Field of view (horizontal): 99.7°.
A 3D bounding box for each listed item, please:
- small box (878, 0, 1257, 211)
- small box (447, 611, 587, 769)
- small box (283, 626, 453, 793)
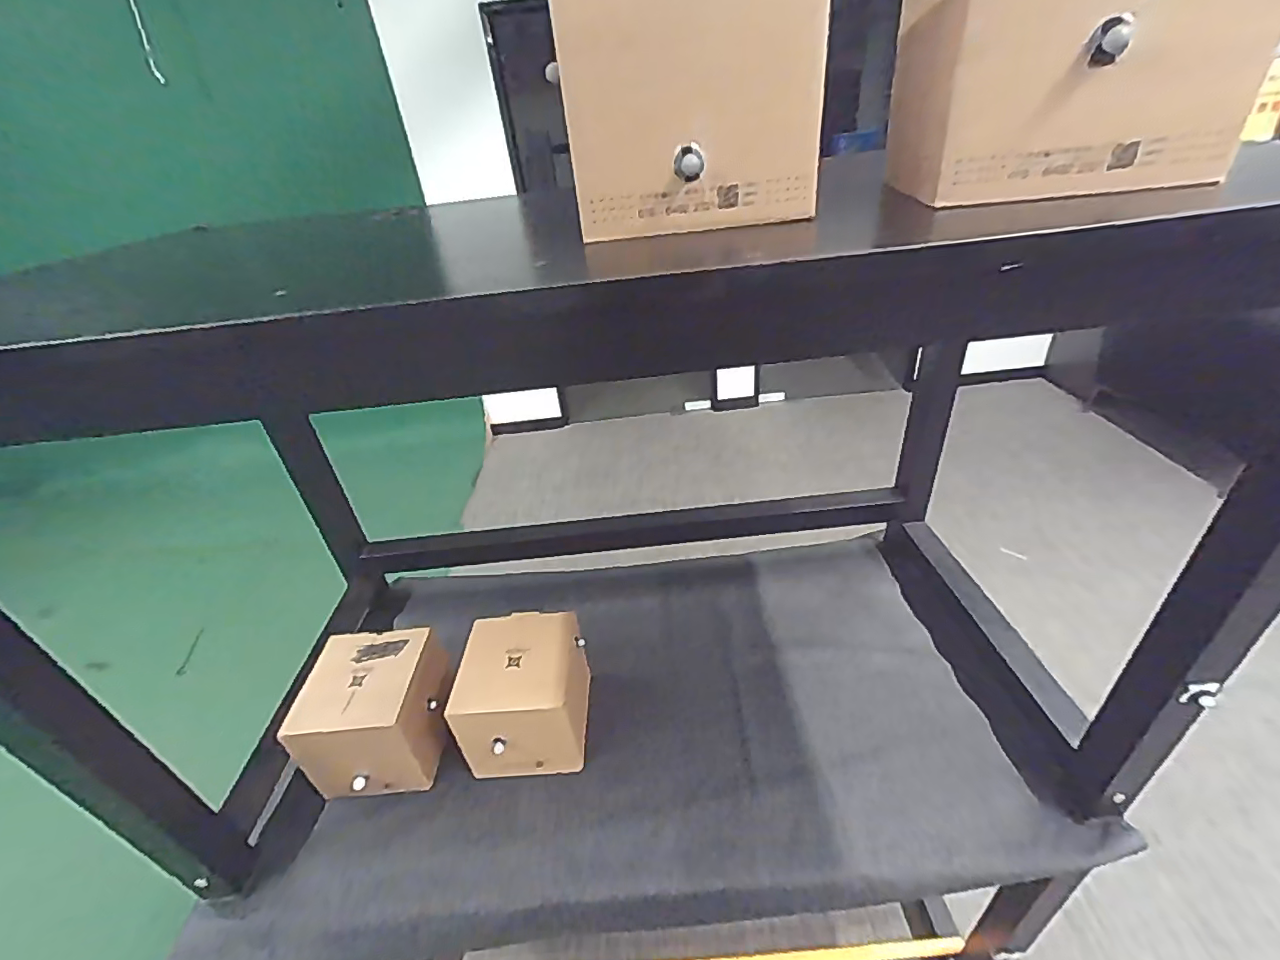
[{"bbox_3d":[0.280,-0.295,0.385,0.168,0.176,0.179,1,33,11],"label":"small box"},{"bbox_3d":[-0.179,0.333,0.852,0.168,0.176,0.179,-5,32,2],"label":"small box"},{"bbox_3d":[-0.405,0.357,0.849,0.168,0.176,0.179,-5,33,1],"label":"small box"}]
